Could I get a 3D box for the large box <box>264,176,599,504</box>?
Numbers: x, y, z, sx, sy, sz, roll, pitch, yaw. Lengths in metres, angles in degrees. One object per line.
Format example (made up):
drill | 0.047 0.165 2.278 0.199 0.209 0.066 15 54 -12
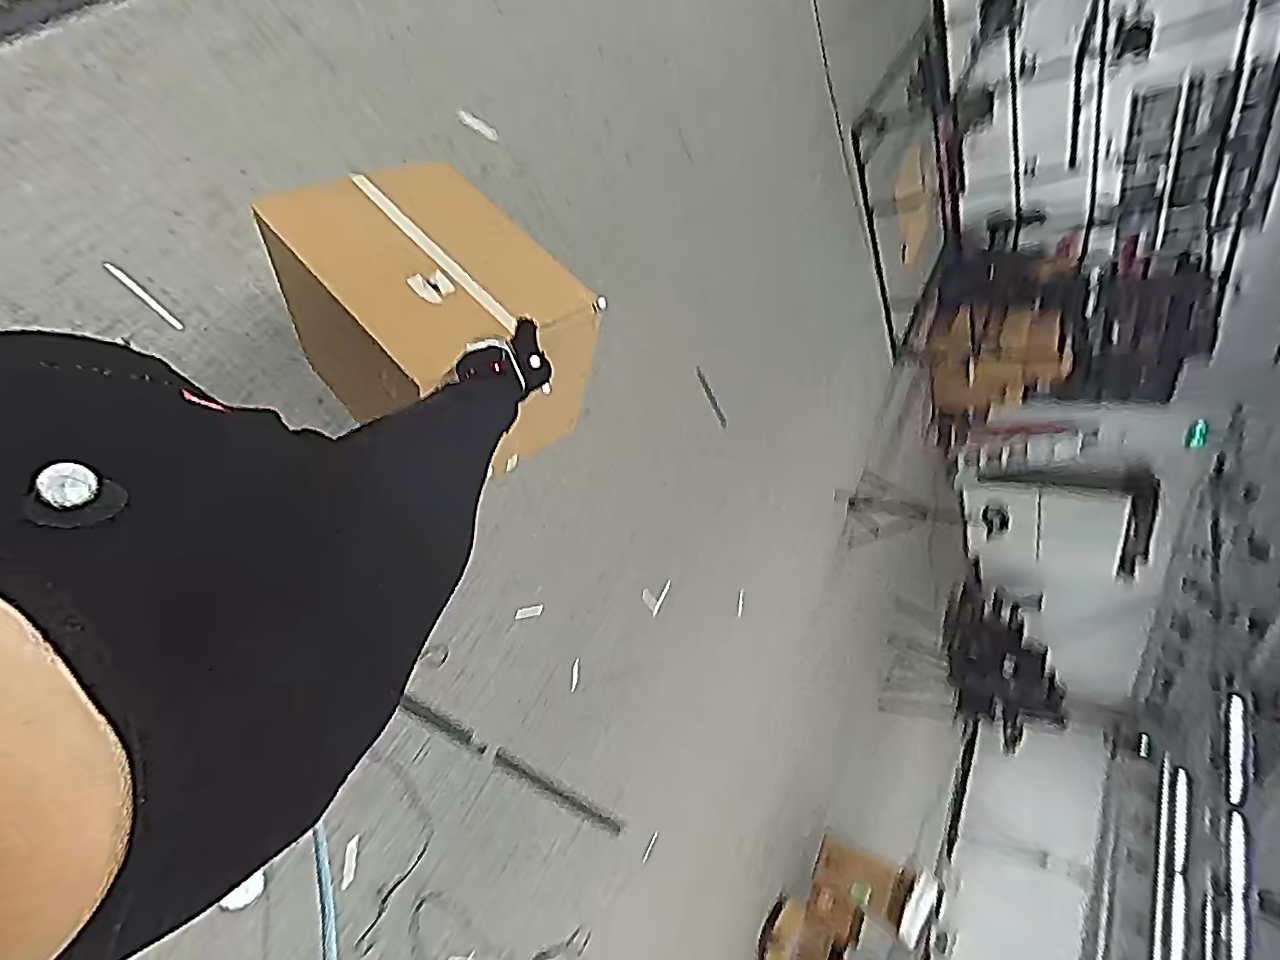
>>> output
large box | -0.343 -0.240 0.925 0.320 0.408 0.320 -35 164 -33
